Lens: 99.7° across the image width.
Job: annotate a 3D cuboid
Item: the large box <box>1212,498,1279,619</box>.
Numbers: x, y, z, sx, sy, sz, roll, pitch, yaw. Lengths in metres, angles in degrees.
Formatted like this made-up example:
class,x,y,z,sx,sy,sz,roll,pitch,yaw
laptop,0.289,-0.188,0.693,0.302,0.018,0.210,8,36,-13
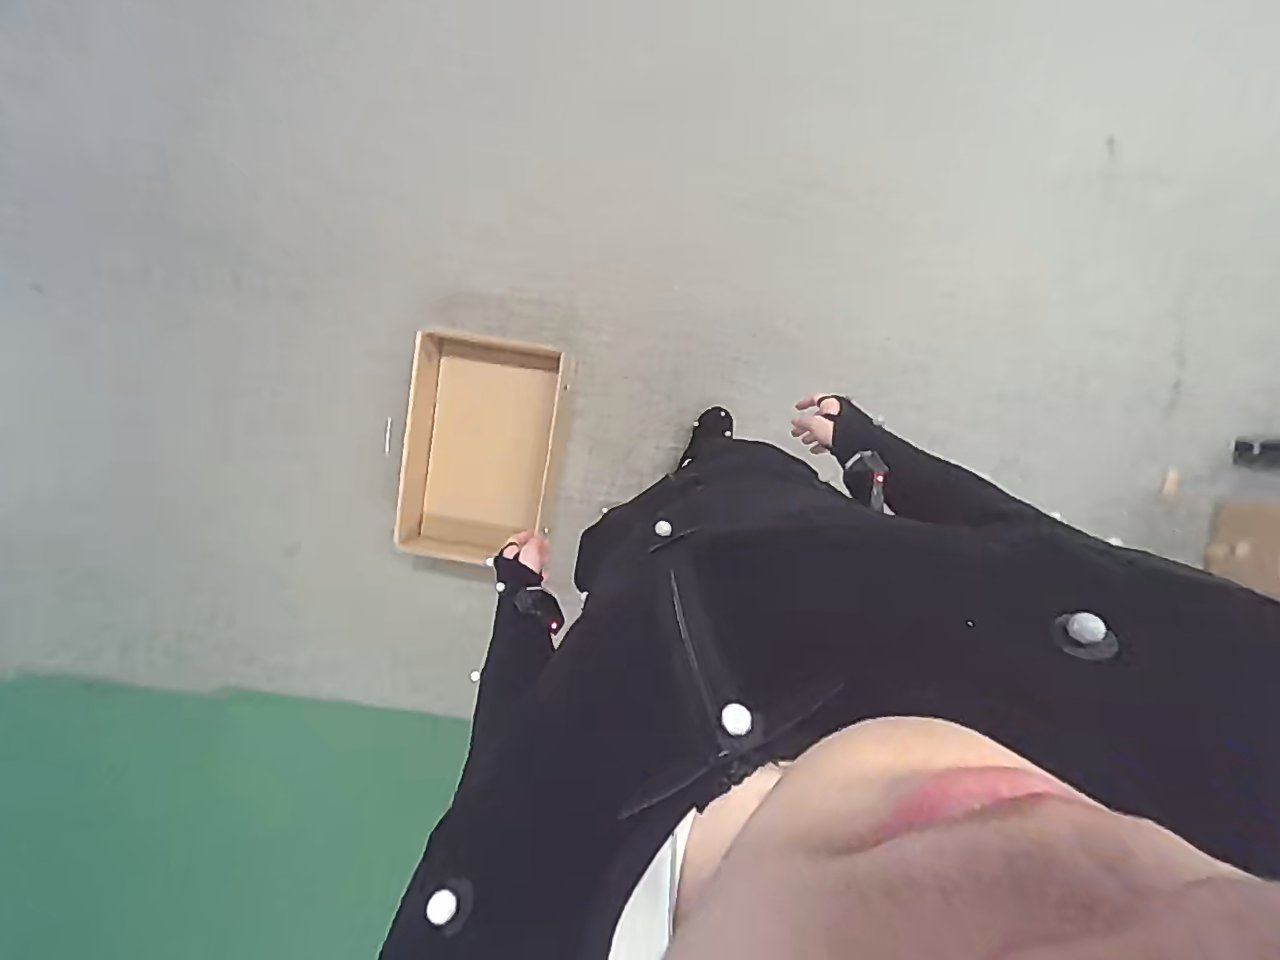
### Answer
class,x,y,z,sx,sy,sz,roll,pitch,yaw
large box,1.880,0.223,1.431,0.408,0.320,0.320,4,96,1
